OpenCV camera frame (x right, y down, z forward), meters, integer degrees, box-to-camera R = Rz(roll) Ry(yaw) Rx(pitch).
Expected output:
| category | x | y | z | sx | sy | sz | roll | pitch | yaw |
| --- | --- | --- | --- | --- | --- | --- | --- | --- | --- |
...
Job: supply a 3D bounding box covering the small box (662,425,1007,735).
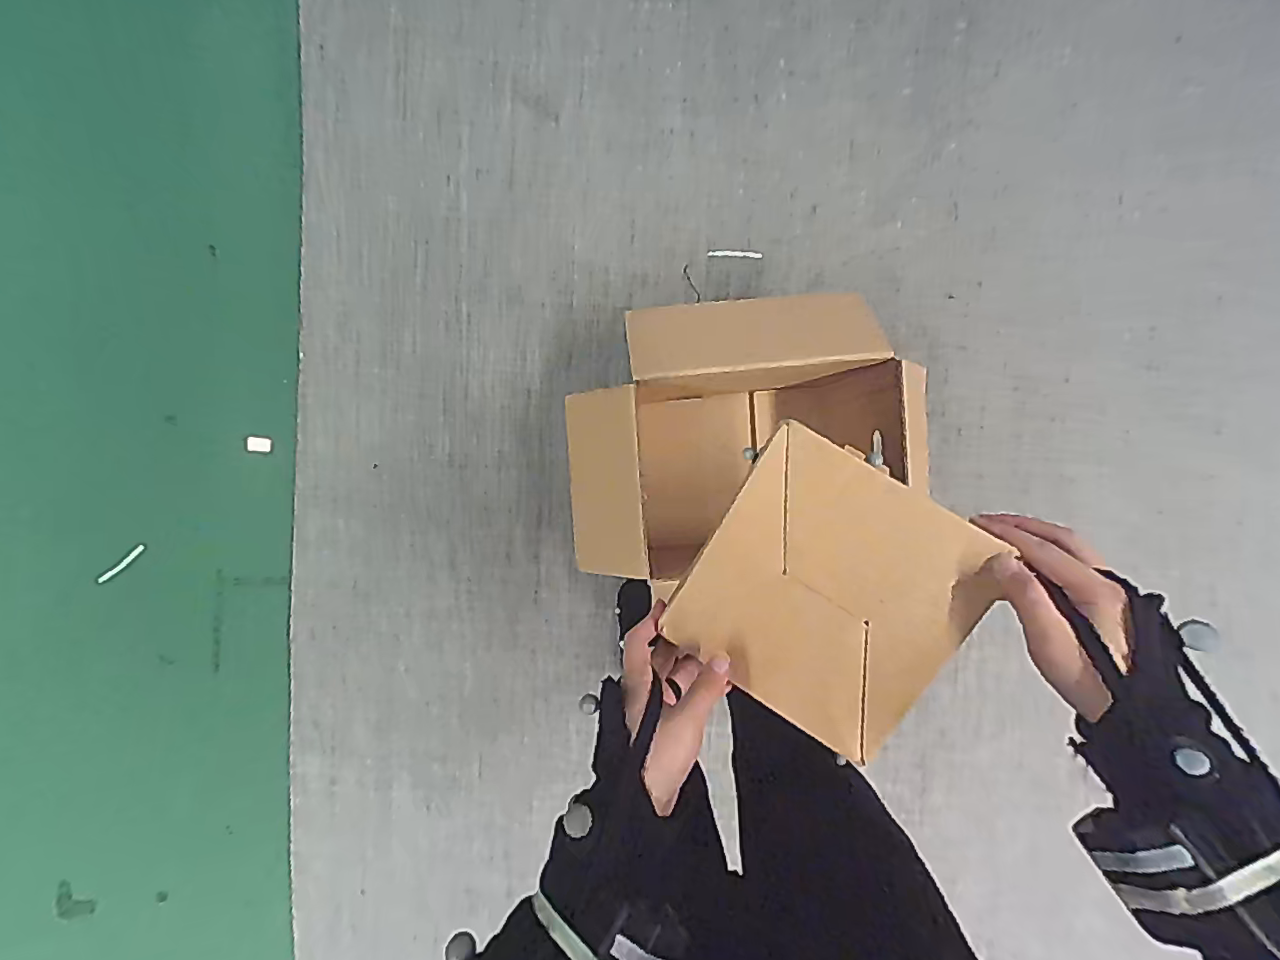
| category | x | y | z | sx | sy | sz | roll | pitch | yaw |
| --- | --- | --- | --- | --- | --- | --- | --- | --- | --- |
| small box | 0.136 | 0.067 | 0.429 | 0.168 | 0.176 | 0.179 | 32 | 103 | 9 |
